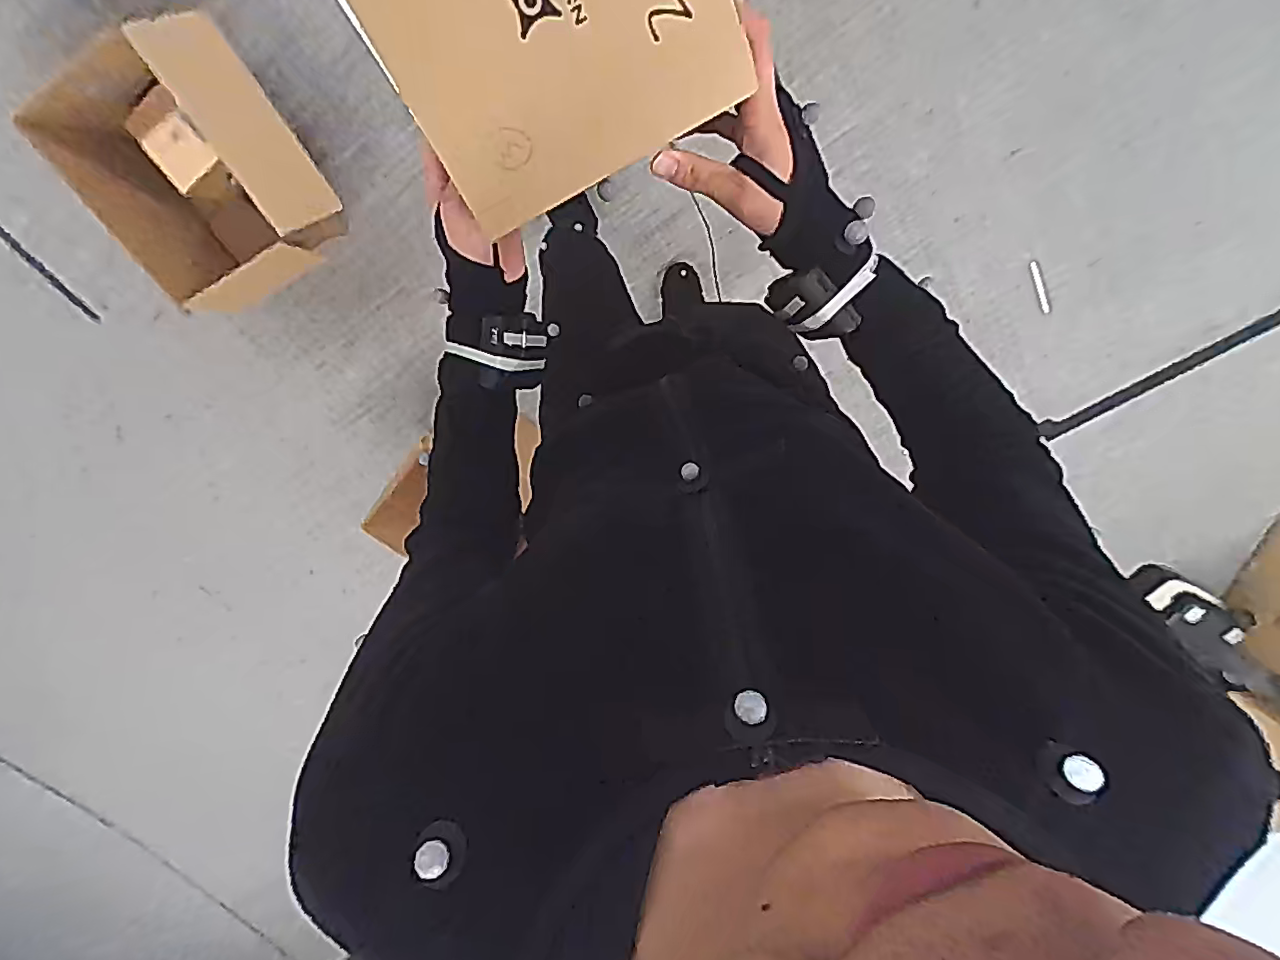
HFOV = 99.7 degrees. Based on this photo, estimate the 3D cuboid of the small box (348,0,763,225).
[{"bbox_3d":[-0.055,-0.277,0.319,0.179,0.176,0.168,-26,123,6],"label":"small box"}]
